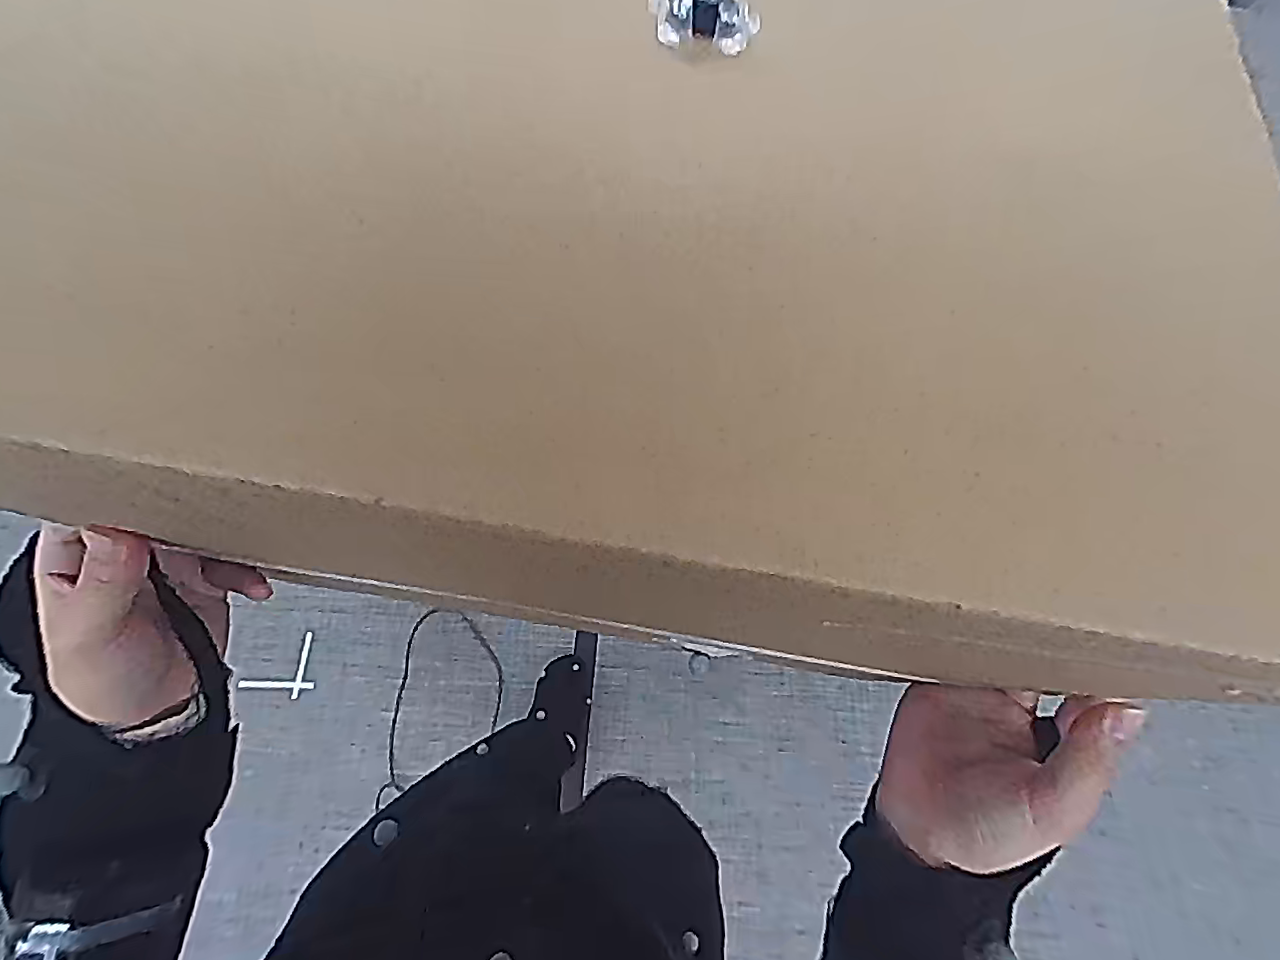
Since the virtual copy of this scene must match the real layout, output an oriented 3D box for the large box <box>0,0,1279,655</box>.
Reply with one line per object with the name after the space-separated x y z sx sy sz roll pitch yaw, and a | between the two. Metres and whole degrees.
-0.002 -0.096 0.304 0.408 0.320 0.320 10 72 -3 | large box
